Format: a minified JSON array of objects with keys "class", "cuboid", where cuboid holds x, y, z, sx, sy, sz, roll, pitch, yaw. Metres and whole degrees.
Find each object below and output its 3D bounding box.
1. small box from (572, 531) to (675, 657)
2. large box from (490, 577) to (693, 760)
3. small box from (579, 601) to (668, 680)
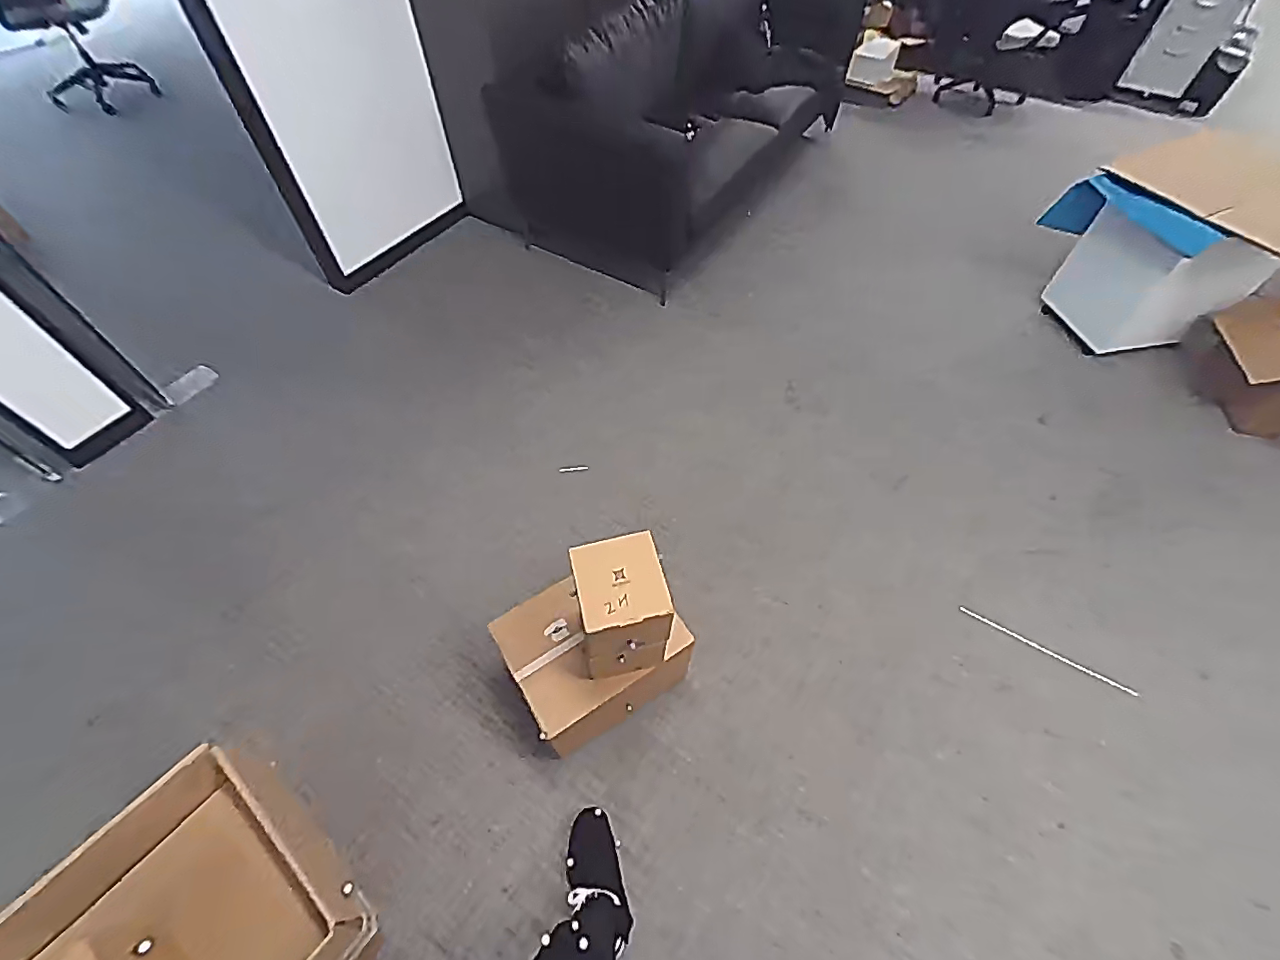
[{"class":"small box","cuboid":[-0.037,0.229,1.073,0.168,0.176,0.179,-12,58,-9]},{"class":"large box","cuboid":[-0.117,0.456,1.416,0.408,0.320,0.320,-29,60,-18]},{"class":"small box","cuboid":[-0.042,0.324,1.209,0.168,0.176,0.179,-11,57,-8]}]
